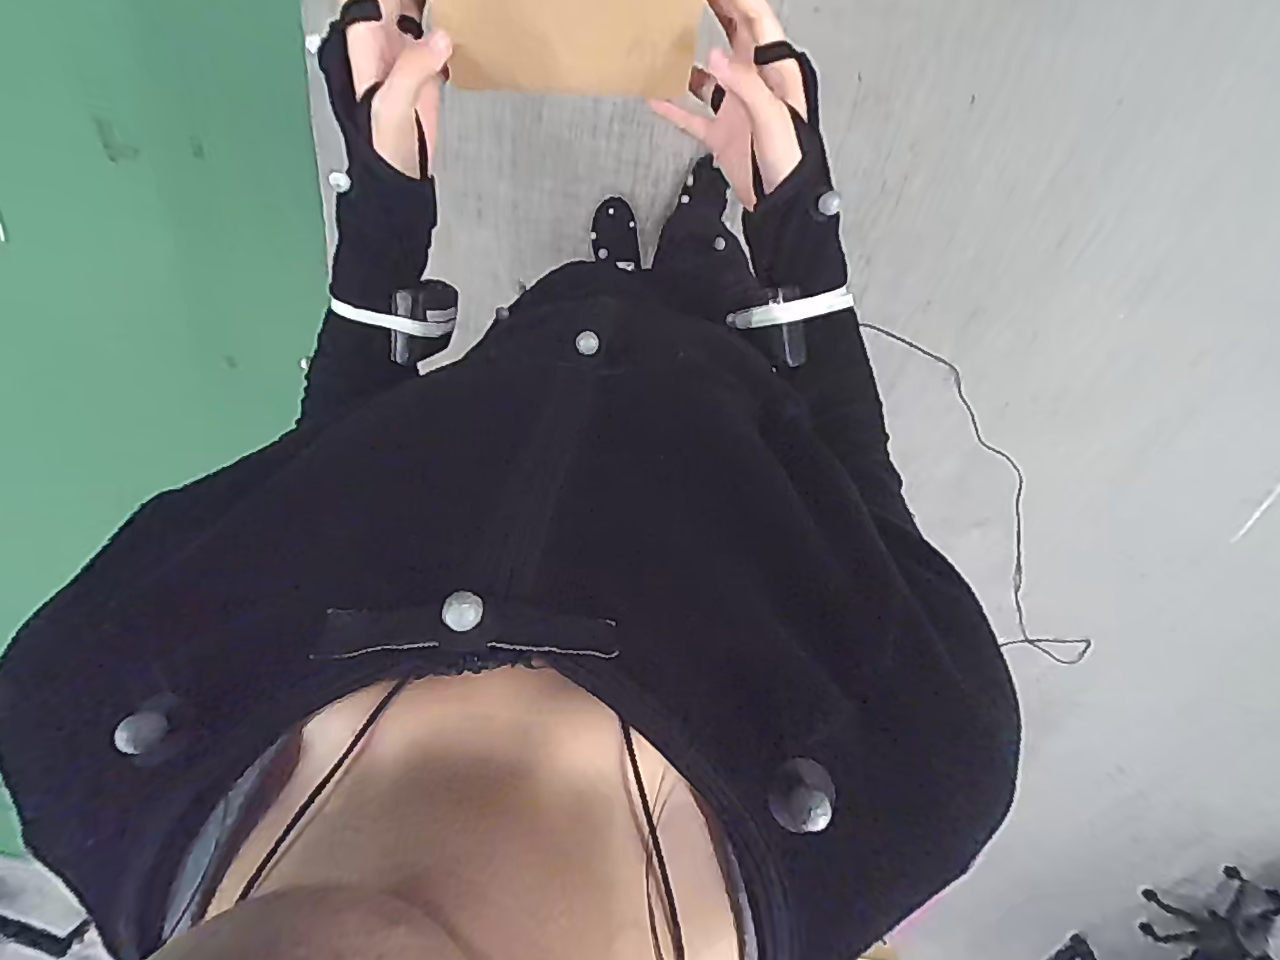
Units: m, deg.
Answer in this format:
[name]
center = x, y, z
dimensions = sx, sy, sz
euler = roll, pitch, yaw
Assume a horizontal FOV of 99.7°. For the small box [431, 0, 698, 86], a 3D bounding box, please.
[small box]
center = -0.044, -0.378, 0.312
dimensions = 0.168, 0.179, 0.176
euler = -1, 77, -5
